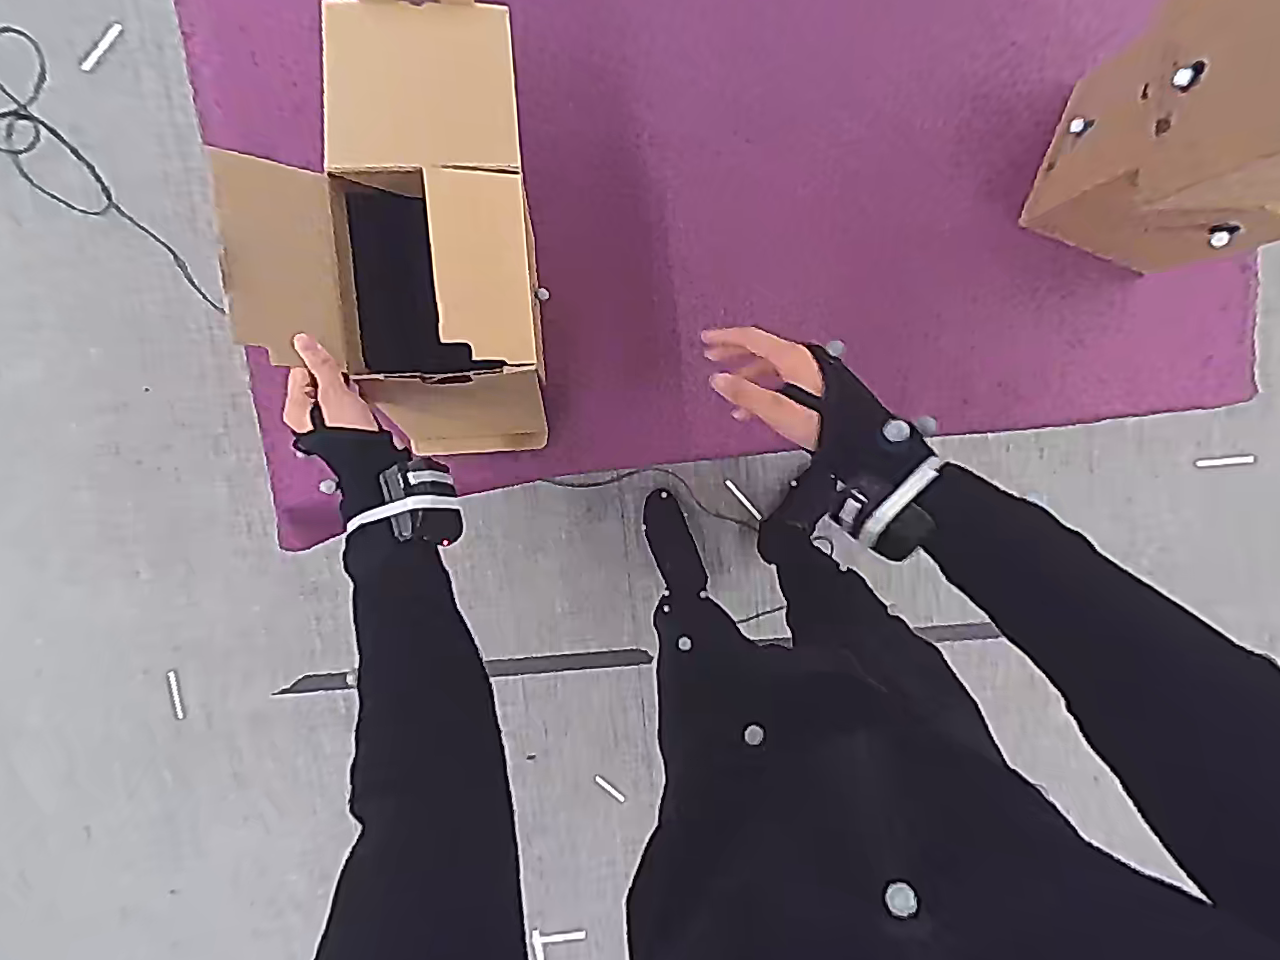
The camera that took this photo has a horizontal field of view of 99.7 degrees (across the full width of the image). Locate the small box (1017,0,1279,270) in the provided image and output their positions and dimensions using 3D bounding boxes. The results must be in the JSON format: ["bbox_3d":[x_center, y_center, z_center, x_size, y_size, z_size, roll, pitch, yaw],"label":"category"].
[{"bbox_3d":[0.548,-0.334,0.553,0.179,0.176,0.168,20,97,-3],"label":"small box"}]
